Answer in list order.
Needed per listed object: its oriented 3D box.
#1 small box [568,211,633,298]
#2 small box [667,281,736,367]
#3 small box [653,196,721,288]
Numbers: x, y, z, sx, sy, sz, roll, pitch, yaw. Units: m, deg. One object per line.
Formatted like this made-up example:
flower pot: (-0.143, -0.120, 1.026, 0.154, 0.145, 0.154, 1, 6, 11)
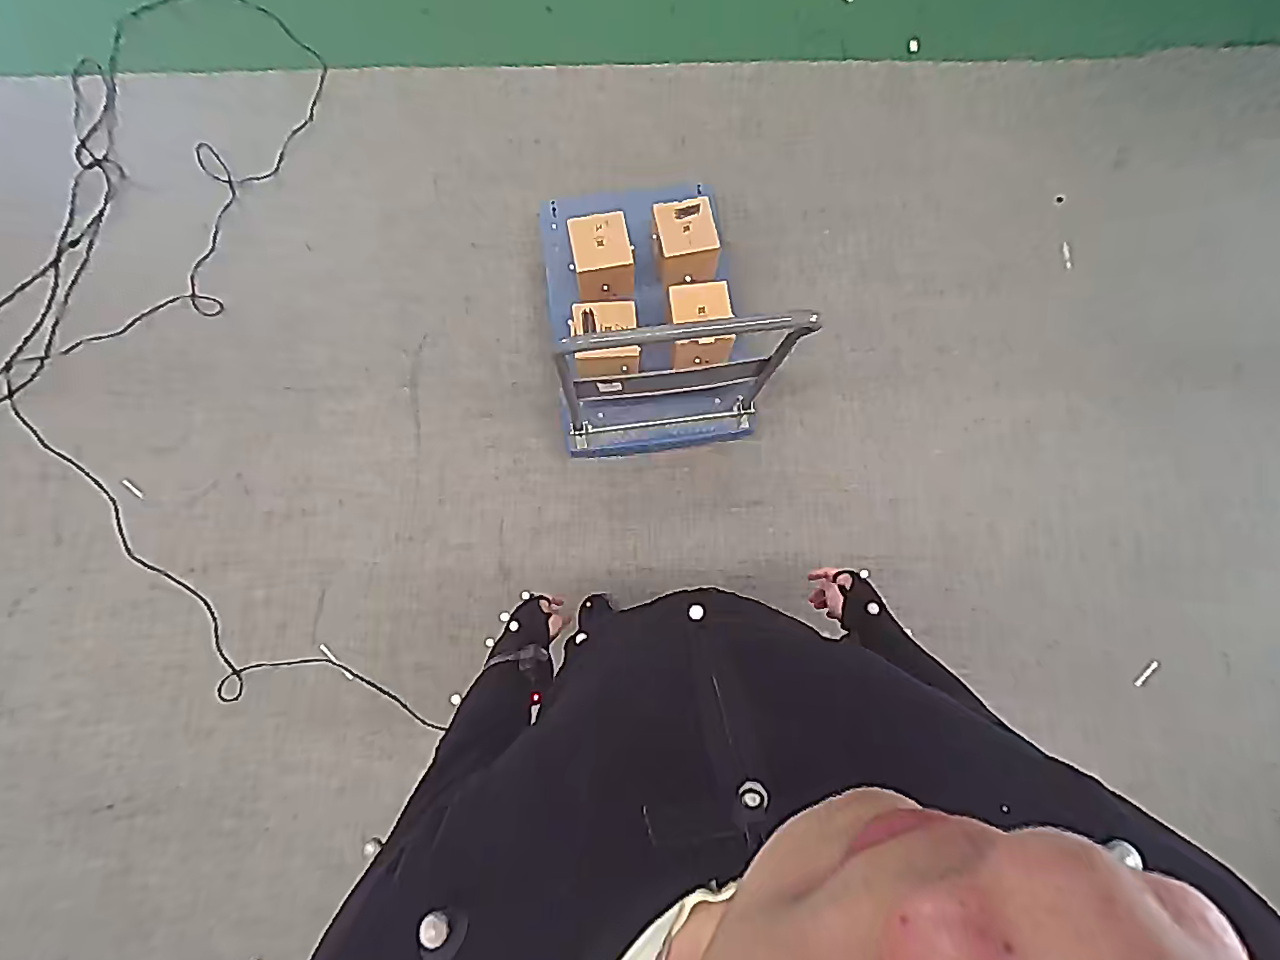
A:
small box: (-0.112, -0.659, 1.605, 0.168, 0.176, 0.179, -10, 78, -4)
small box: (0.171, -0.446, 1.562, 0.168, 0.176, 0.179, -6, 78, -2)
small box: (0.135, -0.708, 1.618, 0.168, 0.176, 0.179, -11, 79, -2)
